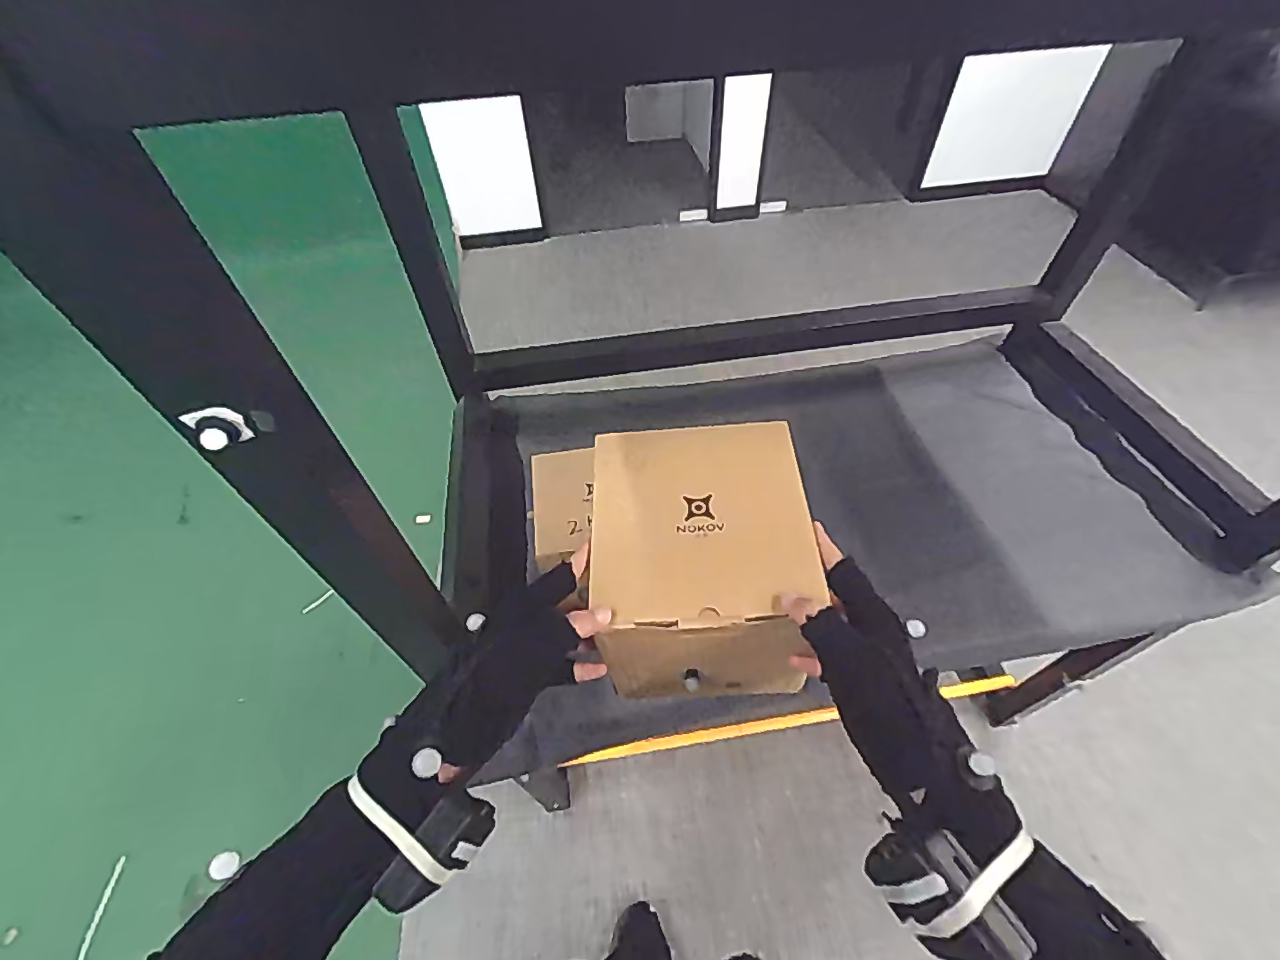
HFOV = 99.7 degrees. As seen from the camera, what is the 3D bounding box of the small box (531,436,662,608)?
[{"bbox_3d":[-0.063,0.063,0.788,0.168,0.176,0.179,-8,50,-4],"label":"small box"}]
